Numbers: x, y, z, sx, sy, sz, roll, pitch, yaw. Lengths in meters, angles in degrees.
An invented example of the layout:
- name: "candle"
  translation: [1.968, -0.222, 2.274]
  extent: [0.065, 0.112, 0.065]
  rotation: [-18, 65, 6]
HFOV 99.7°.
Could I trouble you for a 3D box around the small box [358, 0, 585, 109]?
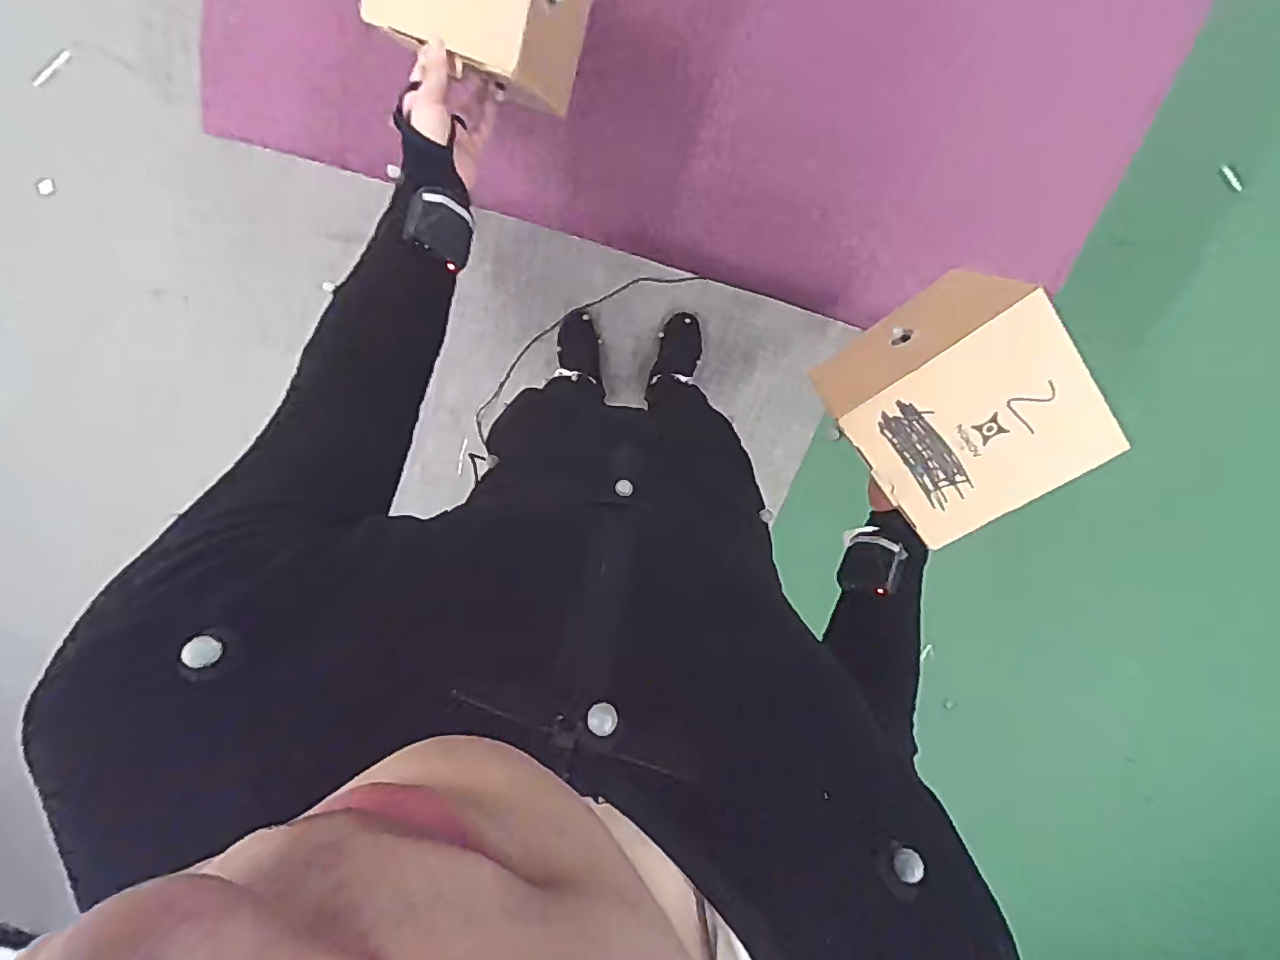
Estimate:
- name: "small box"
  translation: [-0.162, -0.528, 0.569]
  extent: [0.168, 0.176, 0.179]
  rotation: [22, 114, 0]
